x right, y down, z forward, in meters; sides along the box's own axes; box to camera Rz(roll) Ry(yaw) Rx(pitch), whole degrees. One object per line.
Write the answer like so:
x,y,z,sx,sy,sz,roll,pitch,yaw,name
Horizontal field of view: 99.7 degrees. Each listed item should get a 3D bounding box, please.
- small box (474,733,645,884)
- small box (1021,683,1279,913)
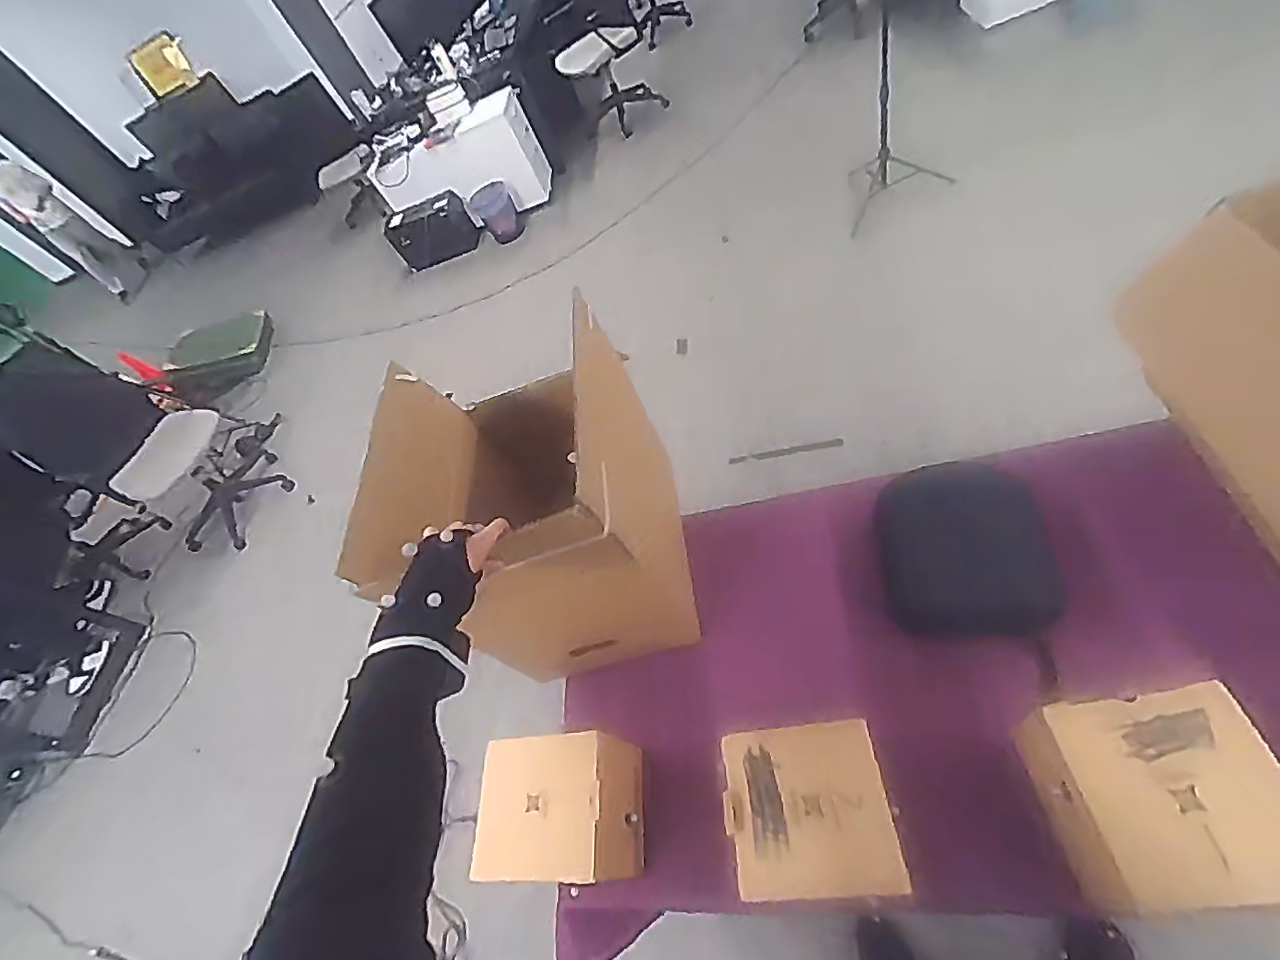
-0.103,0.469,0.766,0.179,0.176,0.168,-13,53,15,small box
0.537,0.334,0.567,0.168,0.176,0.179,-16,53,14,small box
